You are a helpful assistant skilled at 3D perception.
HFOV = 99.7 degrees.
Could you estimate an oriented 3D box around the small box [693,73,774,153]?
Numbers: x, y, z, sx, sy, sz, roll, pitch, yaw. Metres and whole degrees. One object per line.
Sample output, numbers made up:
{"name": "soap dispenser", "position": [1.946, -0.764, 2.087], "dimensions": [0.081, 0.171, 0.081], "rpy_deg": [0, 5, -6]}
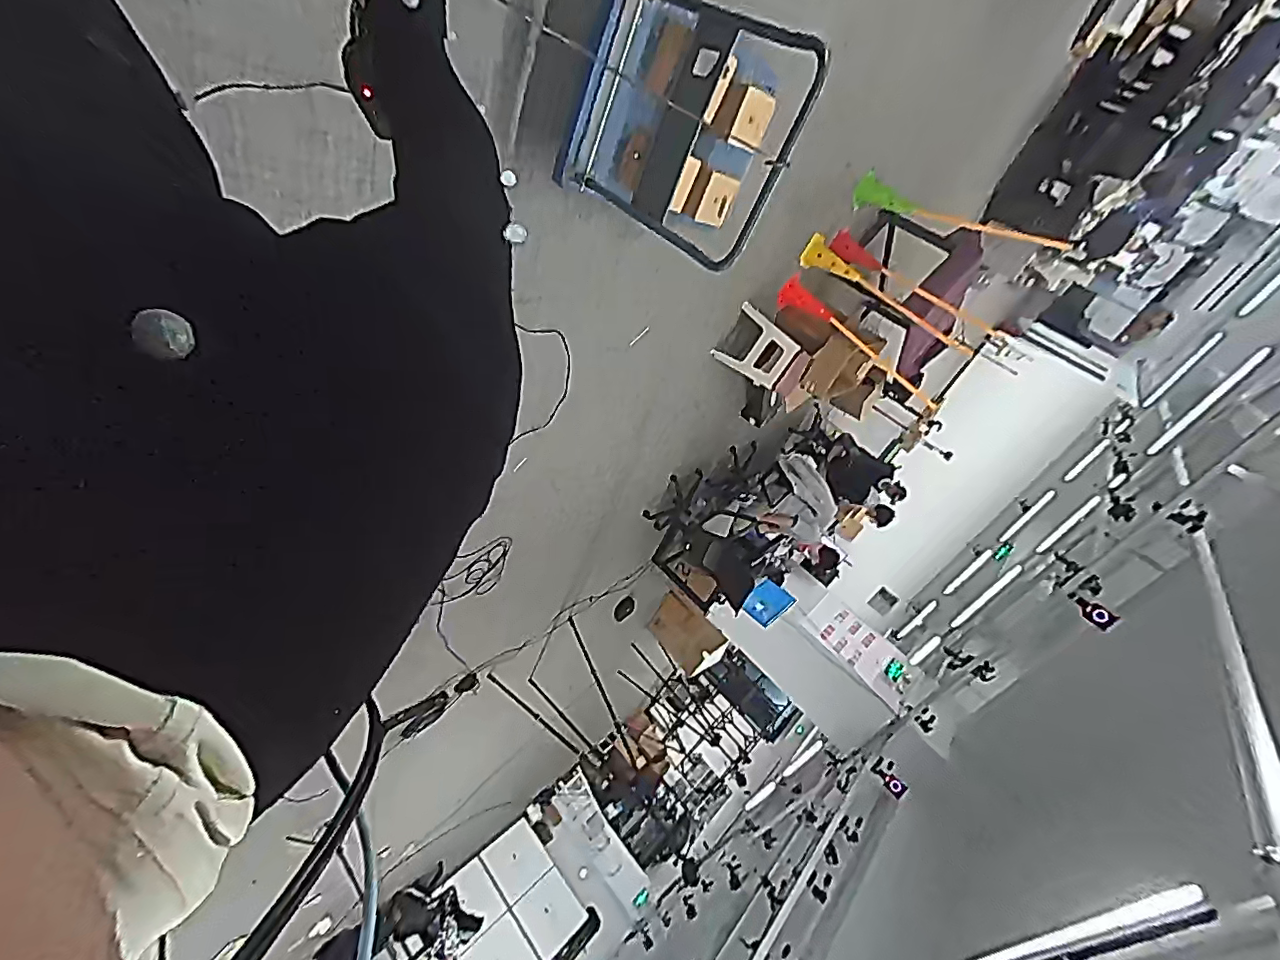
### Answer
{"name": "small box", "position": [0.311, -1.242, 1.827], "dimensions": [0.179, 0.176, 0.168], "rpy_deg": [-19, 144, -46]}

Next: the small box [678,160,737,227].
{"name": "small box", "position": [0.214, -1.048, 1.963], "dimensions": [0.179, 0.176, 0.168], "rpy_deg": [-17, 141, -47]}

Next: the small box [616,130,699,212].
{"name": "small box", "position": [0.054, -1.008, 1.767], "dimensions": [0.179, 0.176, 0.168], "rpy_deg": [-14, 140, -49]}
